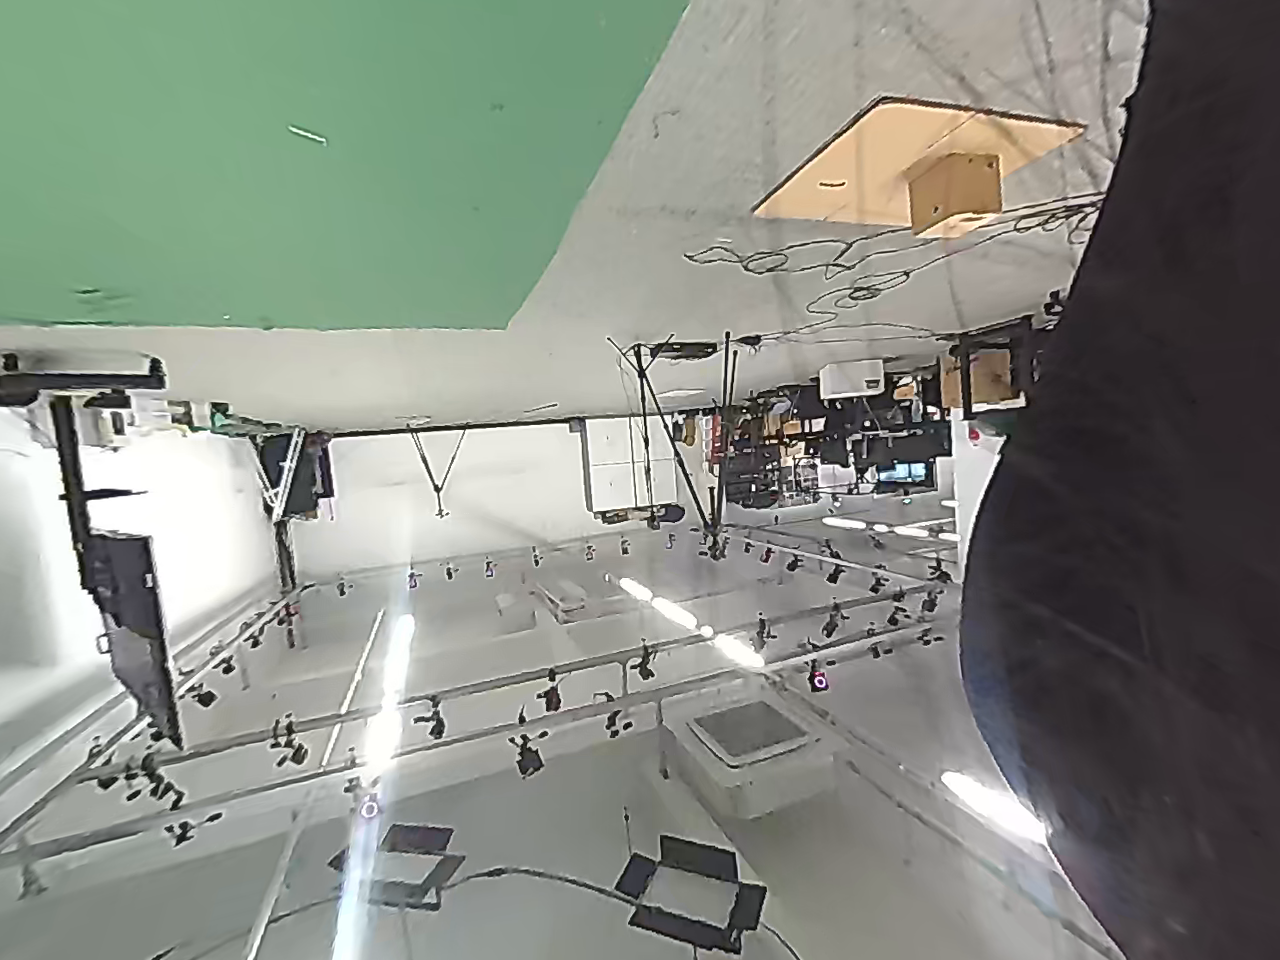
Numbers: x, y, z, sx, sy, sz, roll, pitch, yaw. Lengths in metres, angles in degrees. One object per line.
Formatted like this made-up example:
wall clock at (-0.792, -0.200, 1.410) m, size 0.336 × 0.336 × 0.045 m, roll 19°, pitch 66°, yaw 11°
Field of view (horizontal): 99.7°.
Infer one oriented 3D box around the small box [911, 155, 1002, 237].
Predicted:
small box at (0.942, -0.851, 1.625) m, size 0.168 × 0.176 × 0.179 m, roll -6°, pitch -177°, yaw -13°
